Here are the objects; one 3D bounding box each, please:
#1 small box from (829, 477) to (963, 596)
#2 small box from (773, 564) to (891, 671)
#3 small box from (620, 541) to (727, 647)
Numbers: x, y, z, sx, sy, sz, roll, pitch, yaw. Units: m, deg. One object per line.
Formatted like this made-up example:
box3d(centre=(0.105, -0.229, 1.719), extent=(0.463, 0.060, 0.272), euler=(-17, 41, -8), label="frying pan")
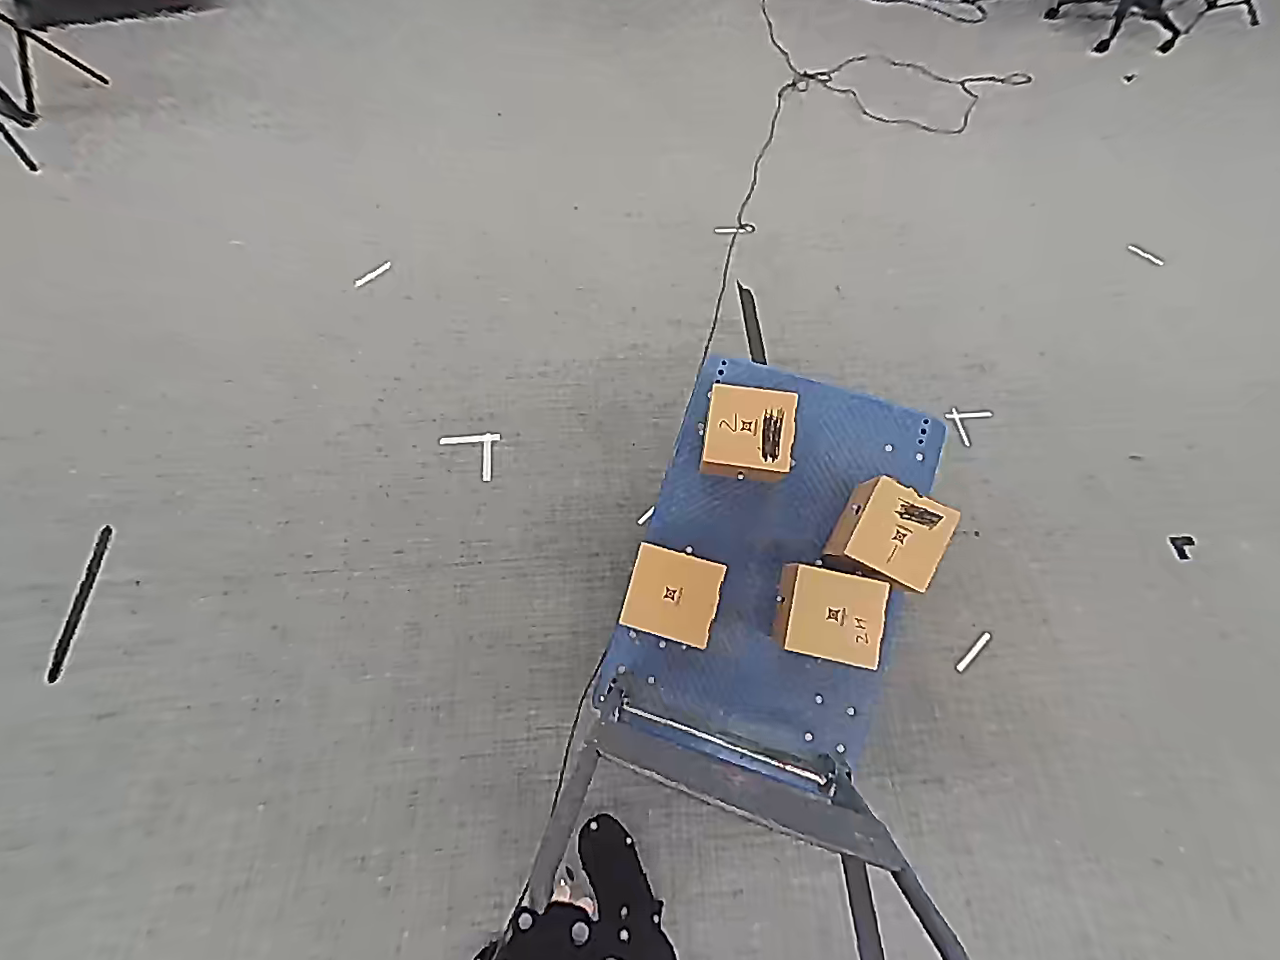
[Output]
box3d(centre=(0.511, 0.116, 1.108), extent=(0.168, 0.176, 0.179), euler=(28, 86, 9), label="small box")
box3d(centre=(0.378, 0.270, 1.096), extent=(0.179, 0.176, 0.168), euler=(12, 83, 7), label="small box")
box3d(centre=(0.070, 0.233, 1.127), extent=(0.179, 0.176, 0.168), euler=(16, 83, 5), label="small box")
